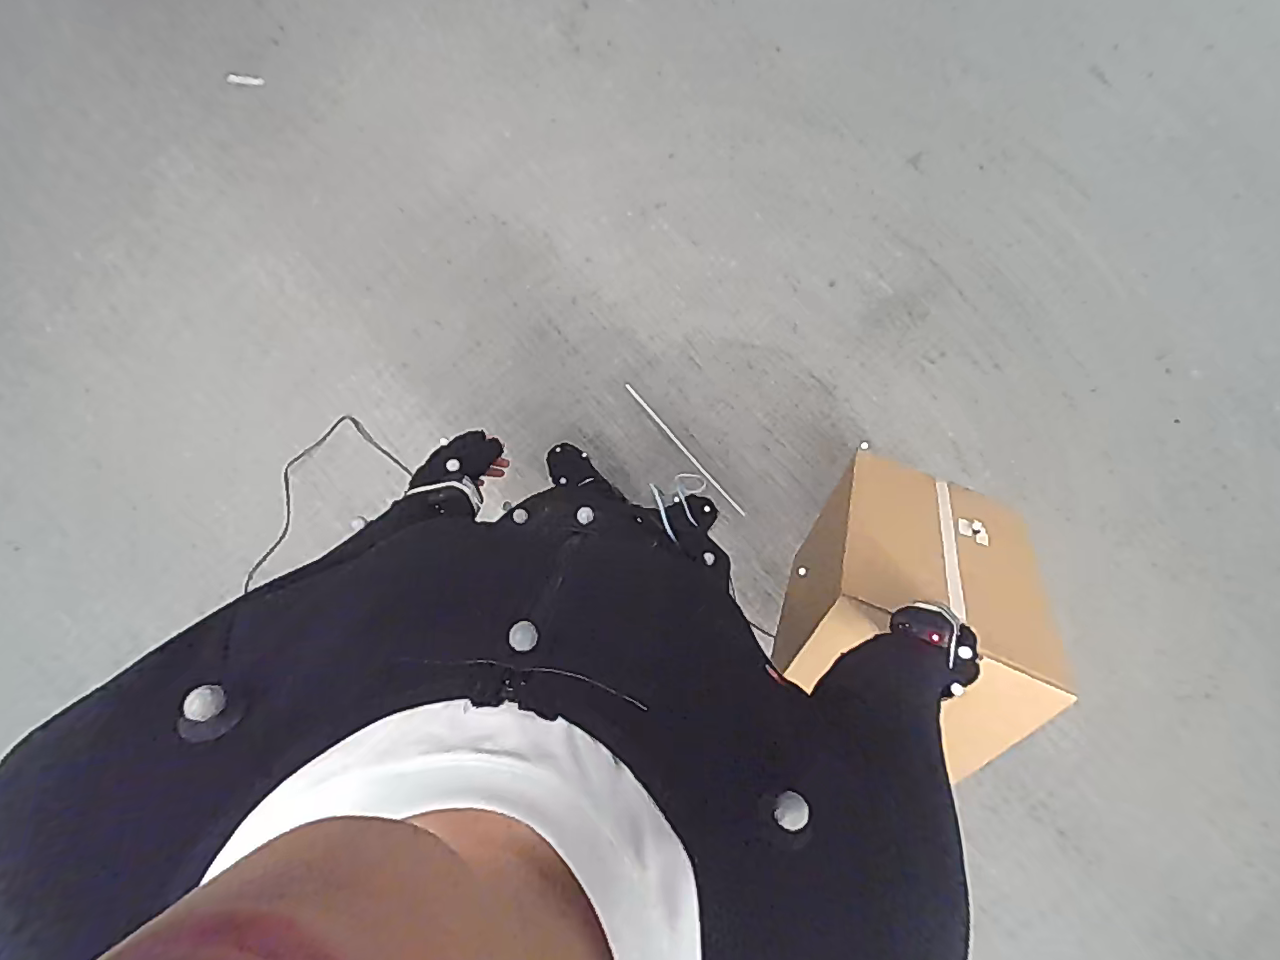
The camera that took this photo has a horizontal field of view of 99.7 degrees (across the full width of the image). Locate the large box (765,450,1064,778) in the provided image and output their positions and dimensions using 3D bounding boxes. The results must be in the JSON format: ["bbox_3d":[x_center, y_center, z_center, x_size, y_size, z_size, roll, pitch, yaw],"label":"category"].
[{"bbox_3d":[0.442,0.215,0.957,0.320,0.408,0.320,24,128,9],"label":"large box"}]
